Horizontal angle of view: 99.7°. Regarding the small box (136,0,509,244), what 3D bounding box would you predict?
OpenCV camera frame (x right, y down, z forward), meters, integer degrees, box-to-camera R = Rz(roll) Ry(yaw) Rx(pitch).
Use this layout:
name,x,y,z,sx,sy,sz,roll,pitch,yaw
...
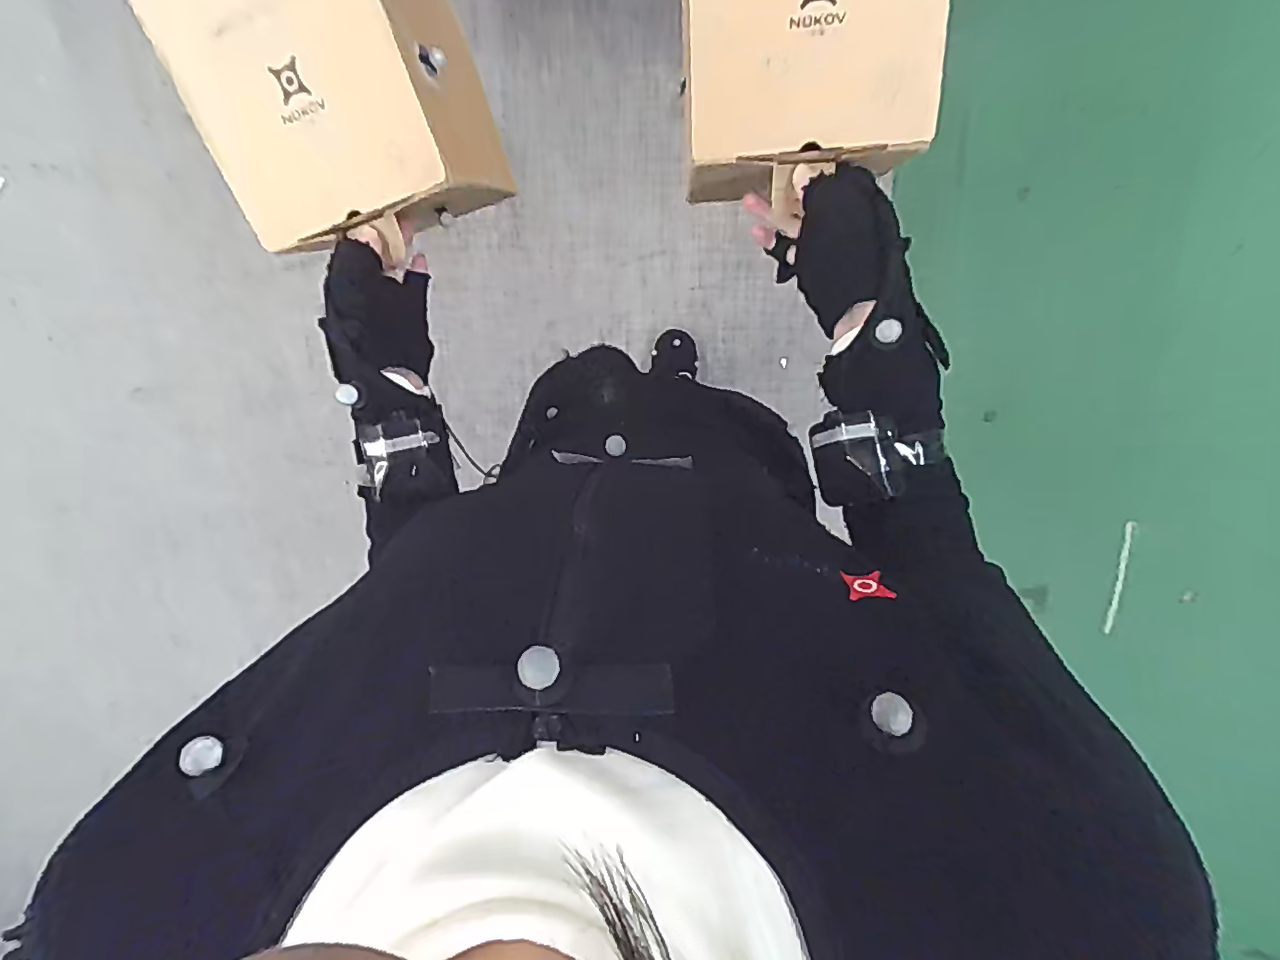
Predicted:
name,x,y,z,sx,sy,sz,roll,pitch,yaw
small box,-0.232,-0.315,0.446,0.168,0.176,0.179,-14,113,13
